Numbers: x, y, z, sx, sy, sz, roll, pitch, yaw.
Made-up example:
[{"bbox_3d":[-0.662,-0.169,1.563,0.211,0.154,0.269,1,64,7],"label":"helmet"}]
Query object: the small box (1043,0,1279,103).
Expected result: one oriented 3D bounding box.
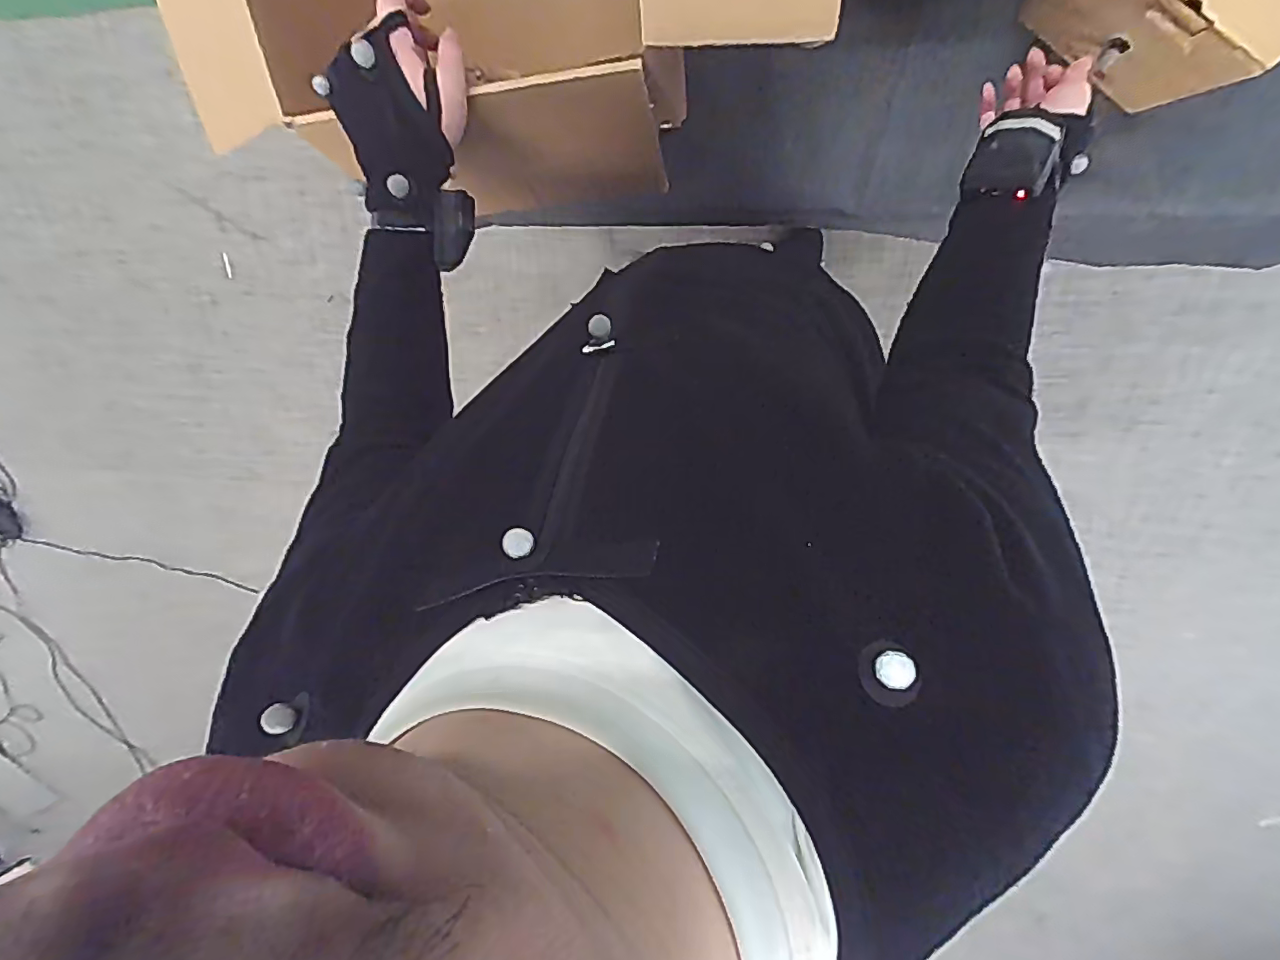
[{"bbox_3d":[0.498,-0.468,0.466,0.168,0.176,0.179,34,117,-6],"label":"small box"}]
